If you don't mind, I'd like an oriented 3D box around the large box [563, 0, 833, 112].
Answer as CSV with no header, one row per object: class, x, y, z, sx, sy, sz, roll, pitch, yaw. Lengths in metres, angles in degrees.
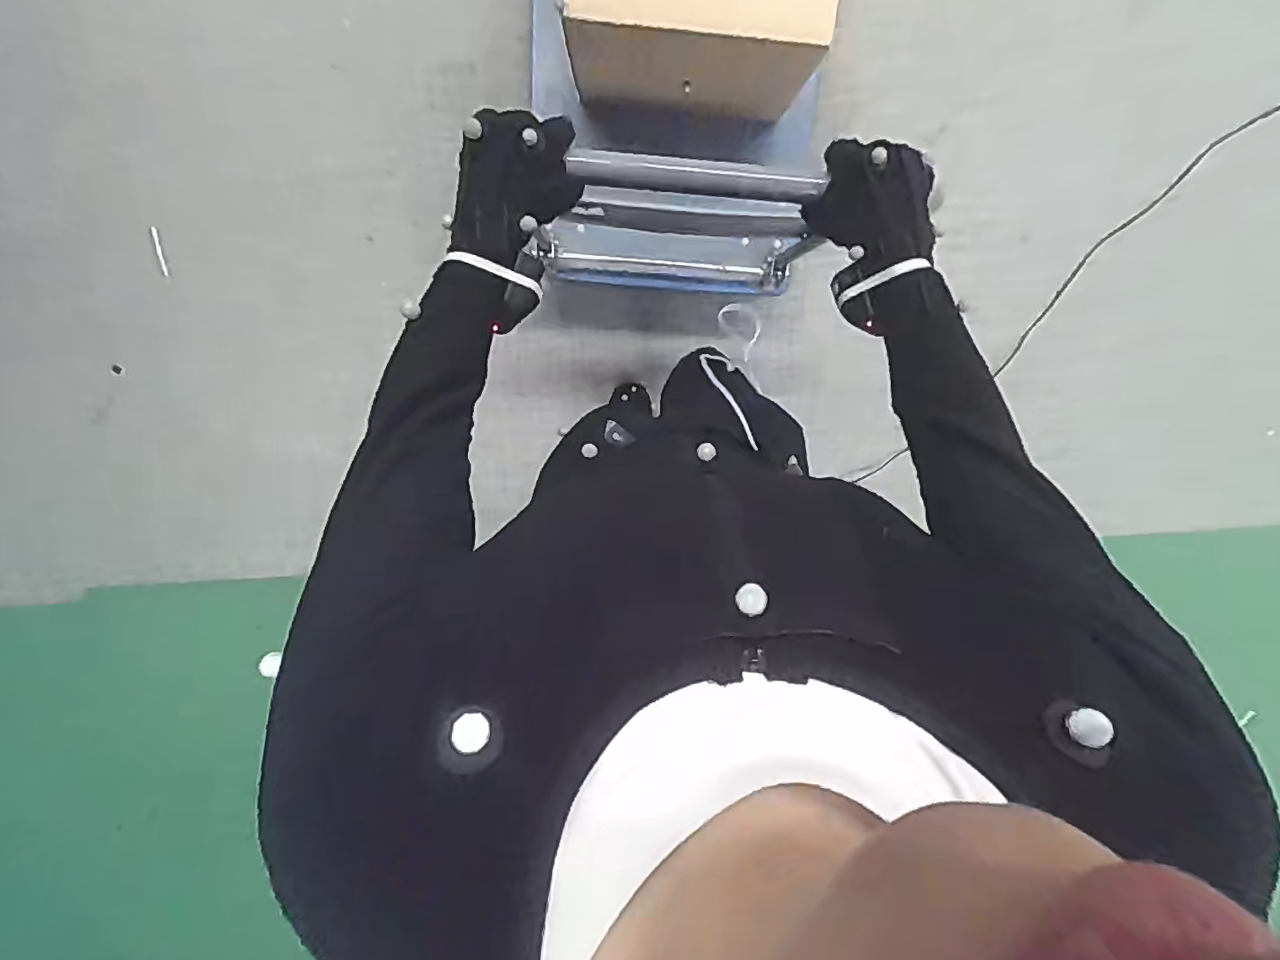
large box,0.095,-0.860,0.909,0.408,0.320,0.320,4,104,-1
